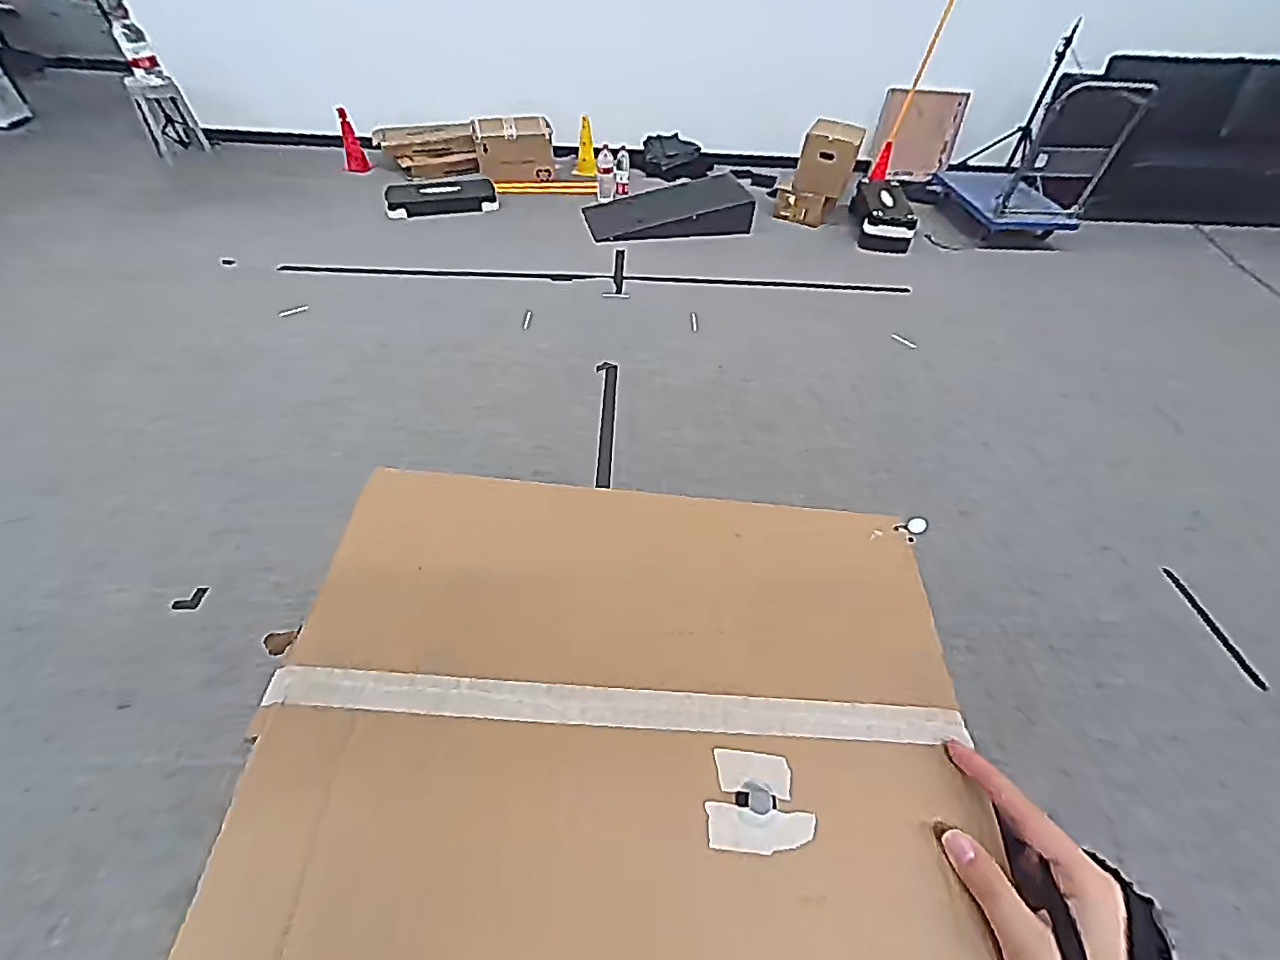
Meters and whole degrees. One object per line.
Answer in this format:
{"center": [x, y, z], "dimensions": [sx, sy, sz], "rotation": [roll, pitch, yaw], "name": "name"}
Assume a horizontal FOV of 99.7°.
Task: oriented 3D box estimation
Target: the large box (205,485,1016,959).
{"center": [-0.017, 0.230, 0.449], "dimensions": [0.408, 0.320, 0.320], "rotation": [6, 54, -4], "name": "large box"}
